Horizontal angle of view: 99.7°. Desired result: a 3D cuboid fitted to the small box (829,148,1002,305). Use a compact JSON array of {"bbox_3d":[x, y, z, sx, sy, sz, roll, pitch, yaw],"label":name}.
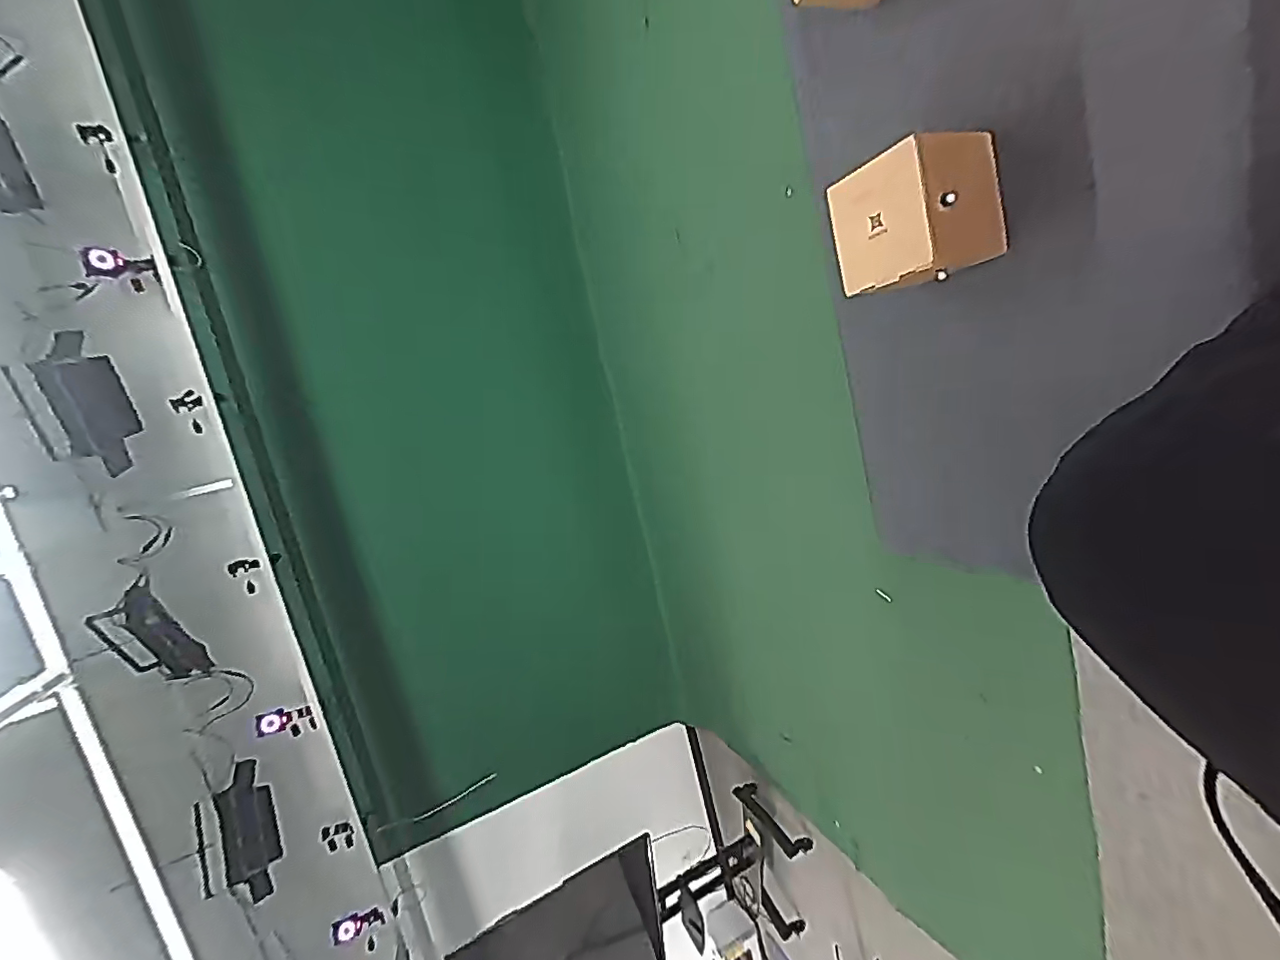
[{"bbox_3d":[0.431,-0.392,0.846,0.168,0.176,0.179,2,105,66],"label":"small box"}]
